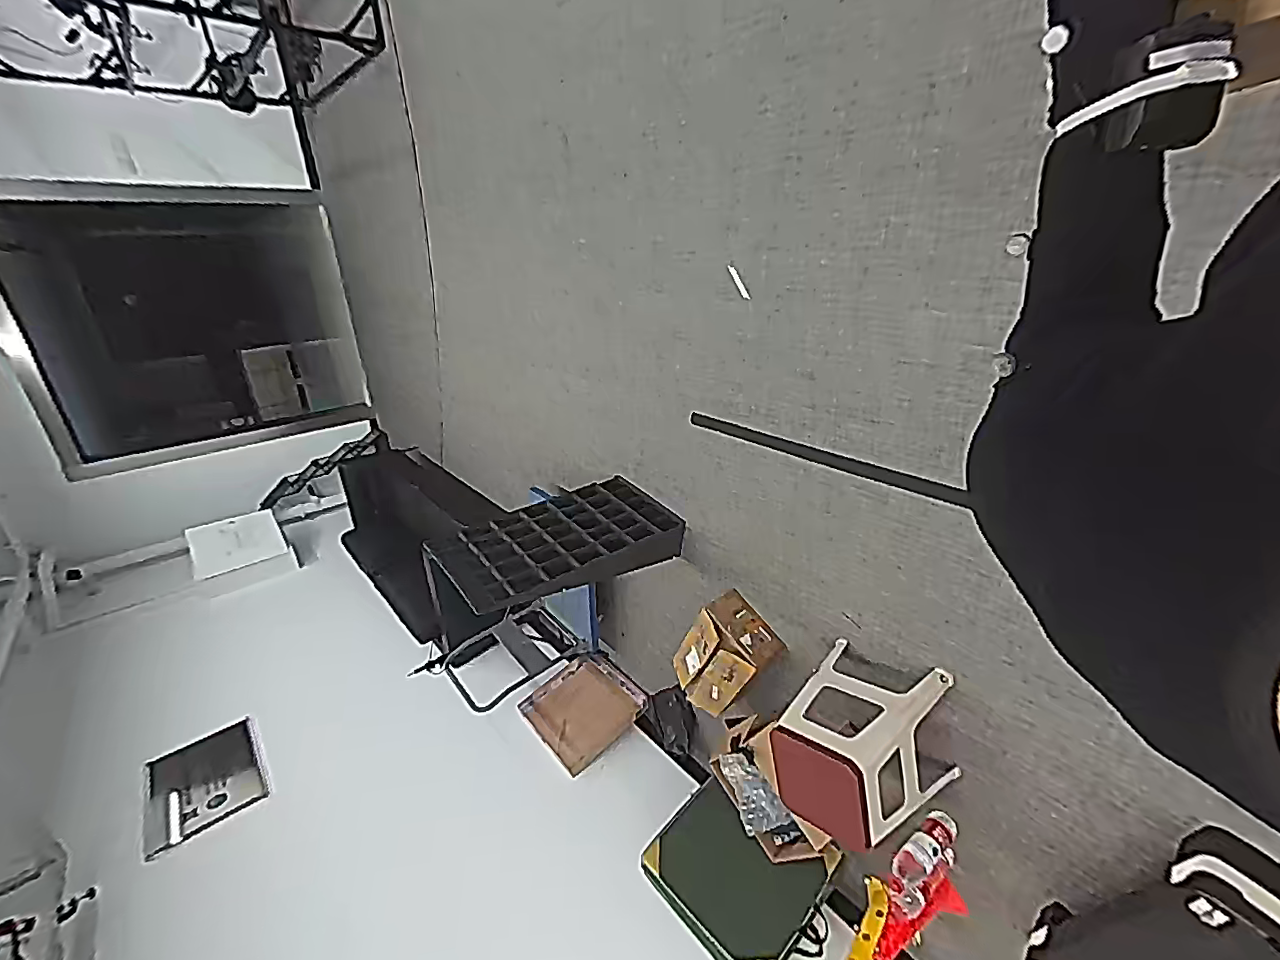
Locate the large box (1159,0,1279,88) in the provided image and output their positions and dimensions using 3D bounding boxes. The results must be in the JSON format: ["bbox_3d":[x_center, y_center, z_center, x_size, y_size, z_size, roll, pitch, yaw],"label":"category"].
[{"bbox_3d":[0.564,-0.473,0.271,0.408,0.320,0.320,9,116,49],"label":"large box"}]
